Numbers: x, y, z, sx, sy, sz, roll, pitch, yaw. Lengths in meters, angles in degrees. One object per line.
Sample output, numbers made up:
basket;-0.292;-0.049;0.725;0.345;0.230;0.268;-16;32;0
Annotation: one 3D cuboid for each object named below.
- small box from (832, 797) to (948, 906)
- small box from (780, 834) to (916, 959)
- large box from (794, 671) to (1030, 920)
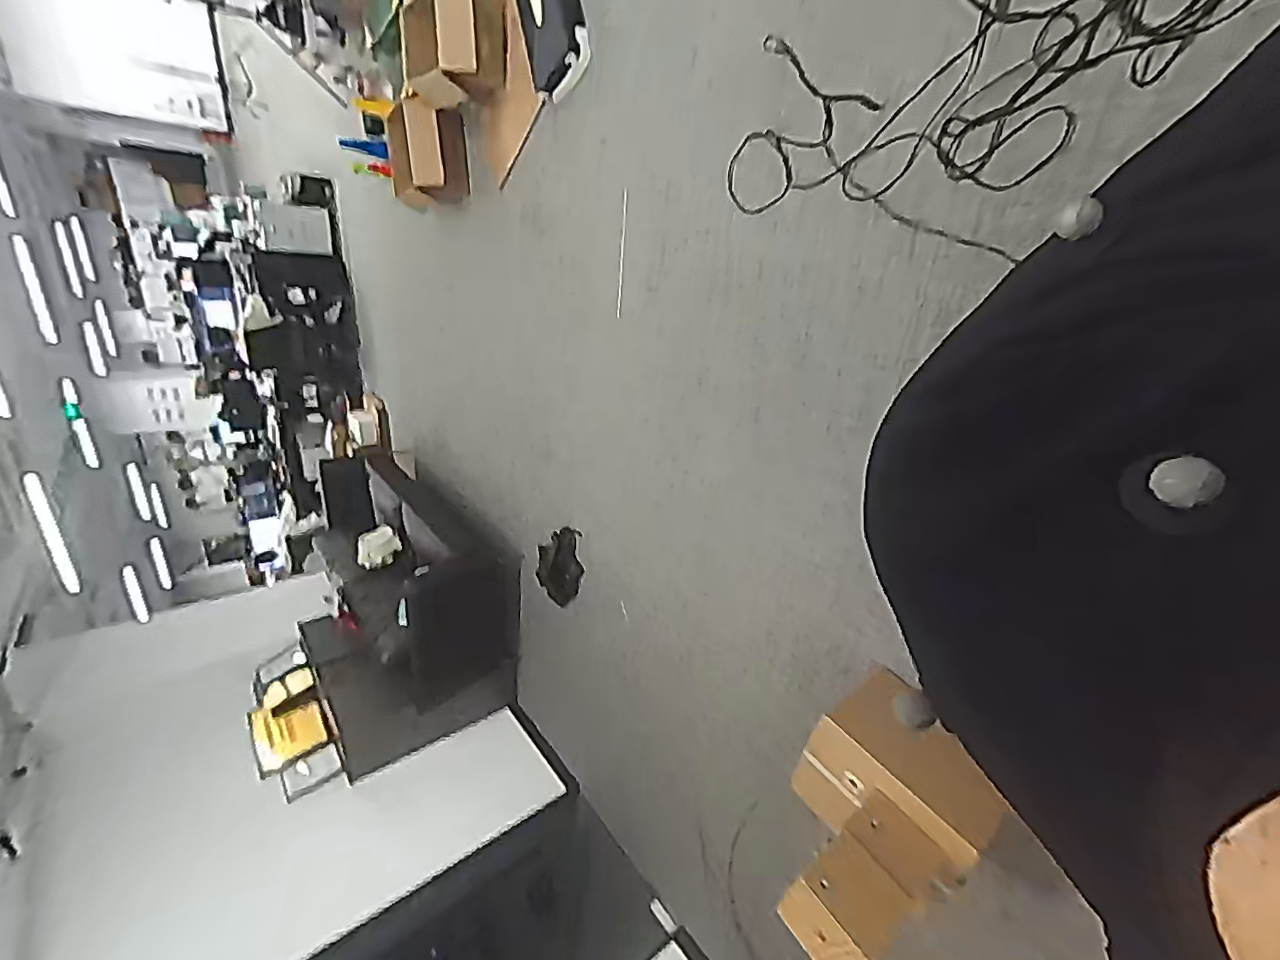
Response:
small box;0.549;0.858;1.219;0.179;0.176;0.168;37;129;39
small box;0.428;0.886;1.114;0.179;0.176;0.168;40;131;39
large box;0.693;0.792;1.415;0.408;0.320;0.320;38;128;41
